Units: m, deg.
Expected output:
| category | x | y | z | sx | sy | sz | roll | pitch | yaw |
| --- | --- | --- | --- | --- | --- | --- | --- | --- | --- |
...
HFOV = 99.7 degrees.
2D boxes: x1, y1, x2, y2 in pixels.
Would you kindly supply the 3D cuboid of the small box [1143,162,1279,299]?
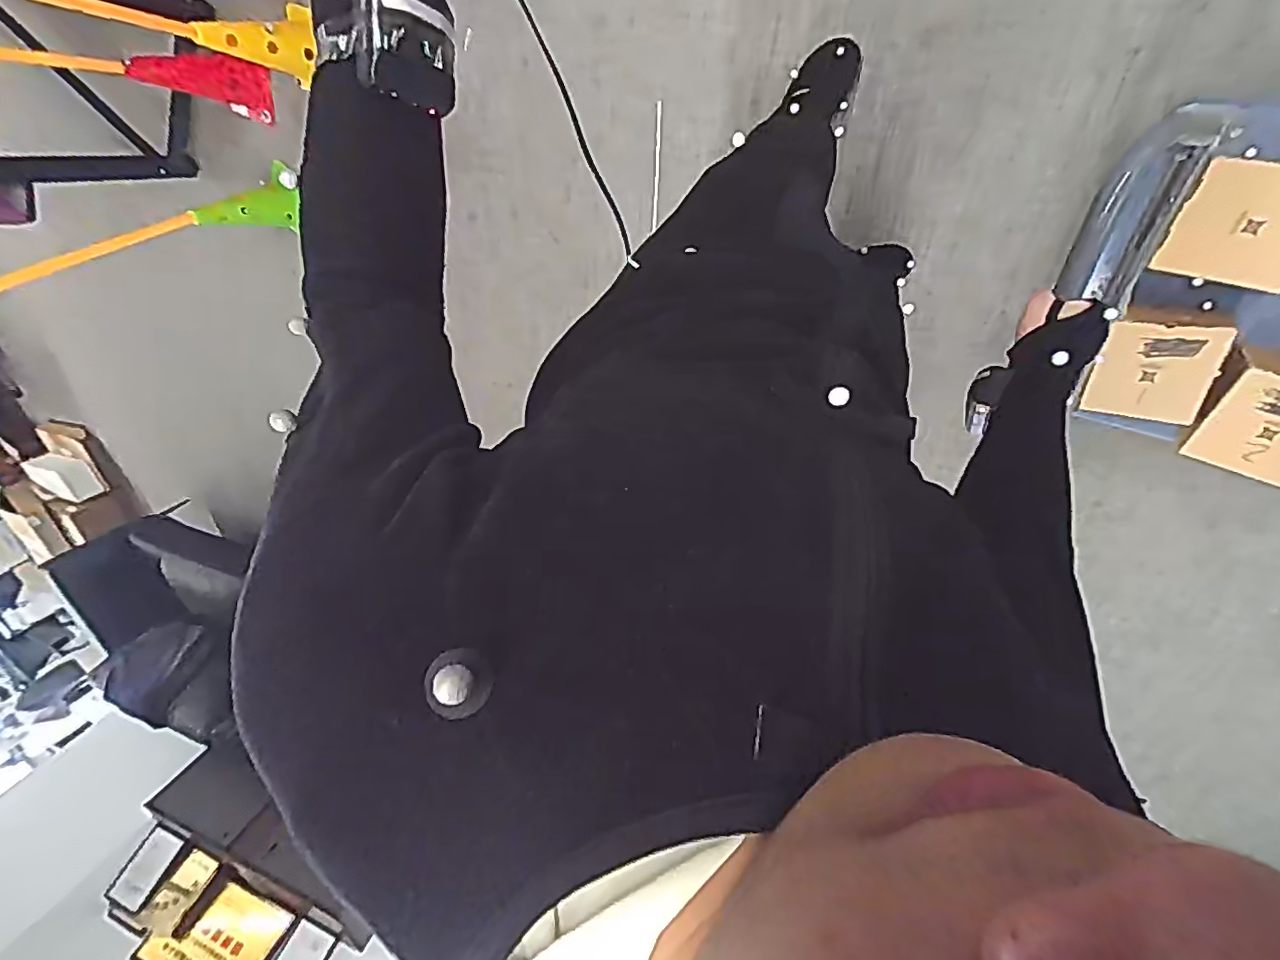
| category | x | y | z | sx | sy | sz | roll | pitch | yaw |
| --- | --- | --- | --- | --- | --- | --- | --- | --- | --- |
| small box | 0.981 | -0.416 | 0.887 | 0.179 | 0.176 | 0.168 | 29 | 132 | 28 |
